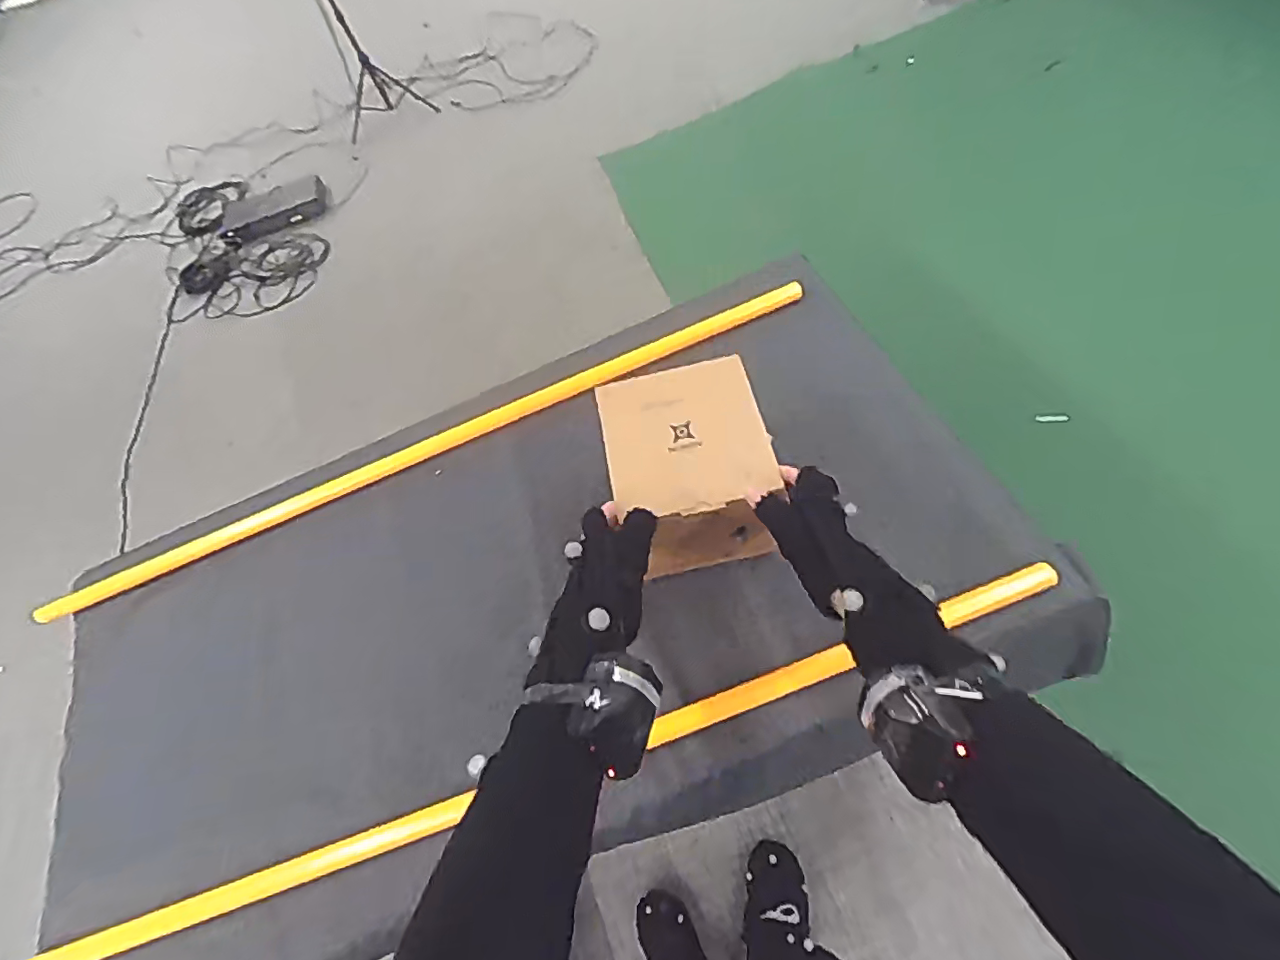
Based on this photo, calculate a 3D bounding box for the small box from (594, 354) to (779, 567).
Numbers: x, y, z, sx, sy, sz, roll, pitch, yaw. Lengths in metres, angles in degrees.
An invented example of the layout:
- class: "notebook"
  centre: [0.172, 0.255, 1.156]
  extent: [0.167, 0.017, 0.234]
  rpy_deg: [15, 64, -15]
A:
- class: "small box"
  centre: [0.052, -0.011, 0.626]
  extent: [0.168, 0.176, 0.179]
  rpy_deg: [-12, 60, 1]
